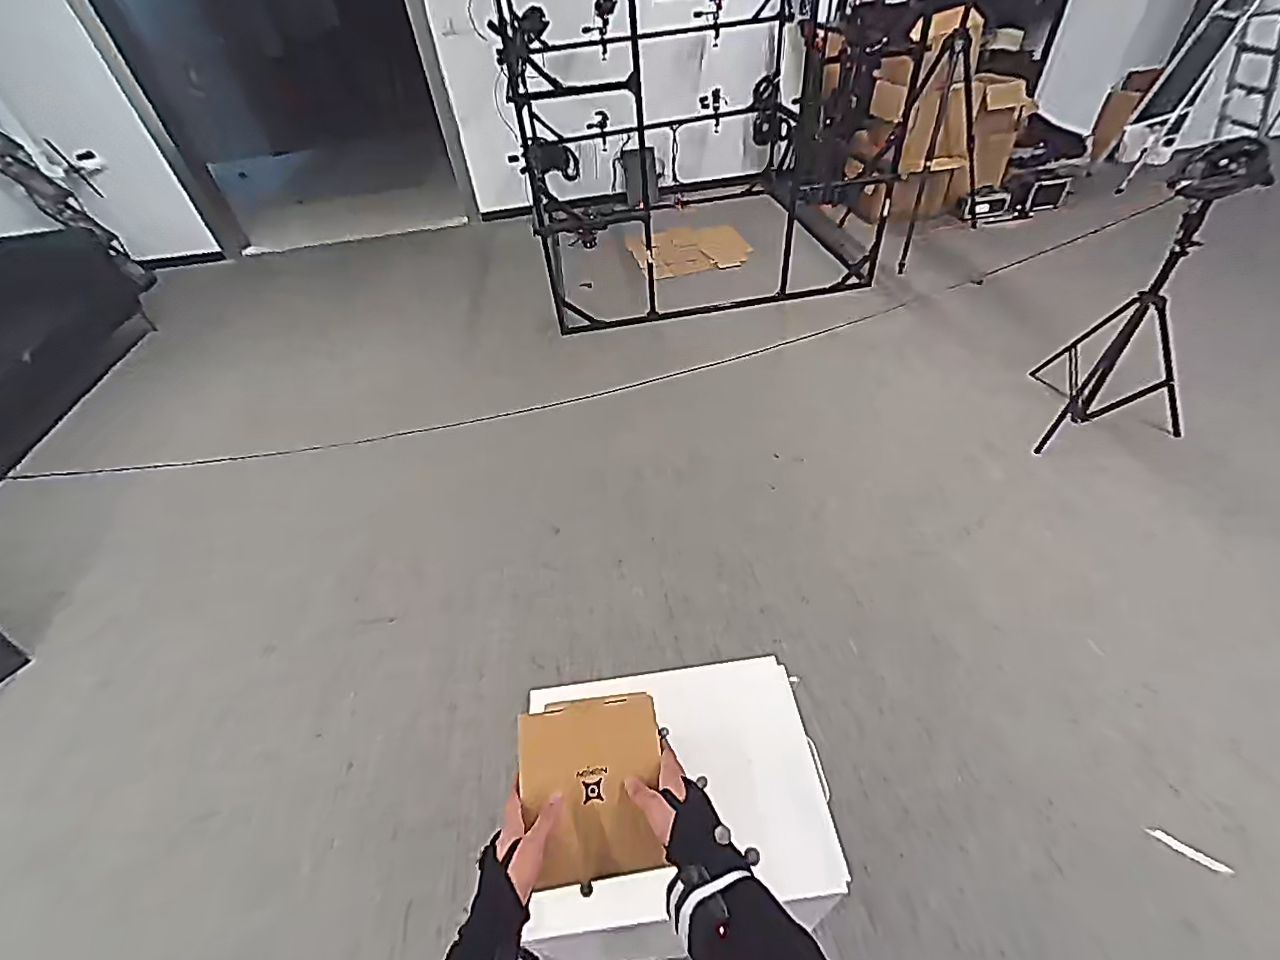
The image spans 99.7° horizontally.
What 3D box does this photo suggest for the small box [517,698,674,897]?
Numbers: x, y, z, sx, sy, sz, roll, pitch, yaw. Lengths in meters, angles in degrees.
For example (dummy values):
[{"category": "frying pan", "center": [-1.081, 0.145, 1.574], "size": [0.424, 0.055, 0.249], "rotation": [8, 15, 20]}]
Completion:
[{"category": "small box", "center": [-0.054, 0.390, 0.671], "size": [0.168, 0.176, 0.179], "rotation": [-7, 55, -5]}]
